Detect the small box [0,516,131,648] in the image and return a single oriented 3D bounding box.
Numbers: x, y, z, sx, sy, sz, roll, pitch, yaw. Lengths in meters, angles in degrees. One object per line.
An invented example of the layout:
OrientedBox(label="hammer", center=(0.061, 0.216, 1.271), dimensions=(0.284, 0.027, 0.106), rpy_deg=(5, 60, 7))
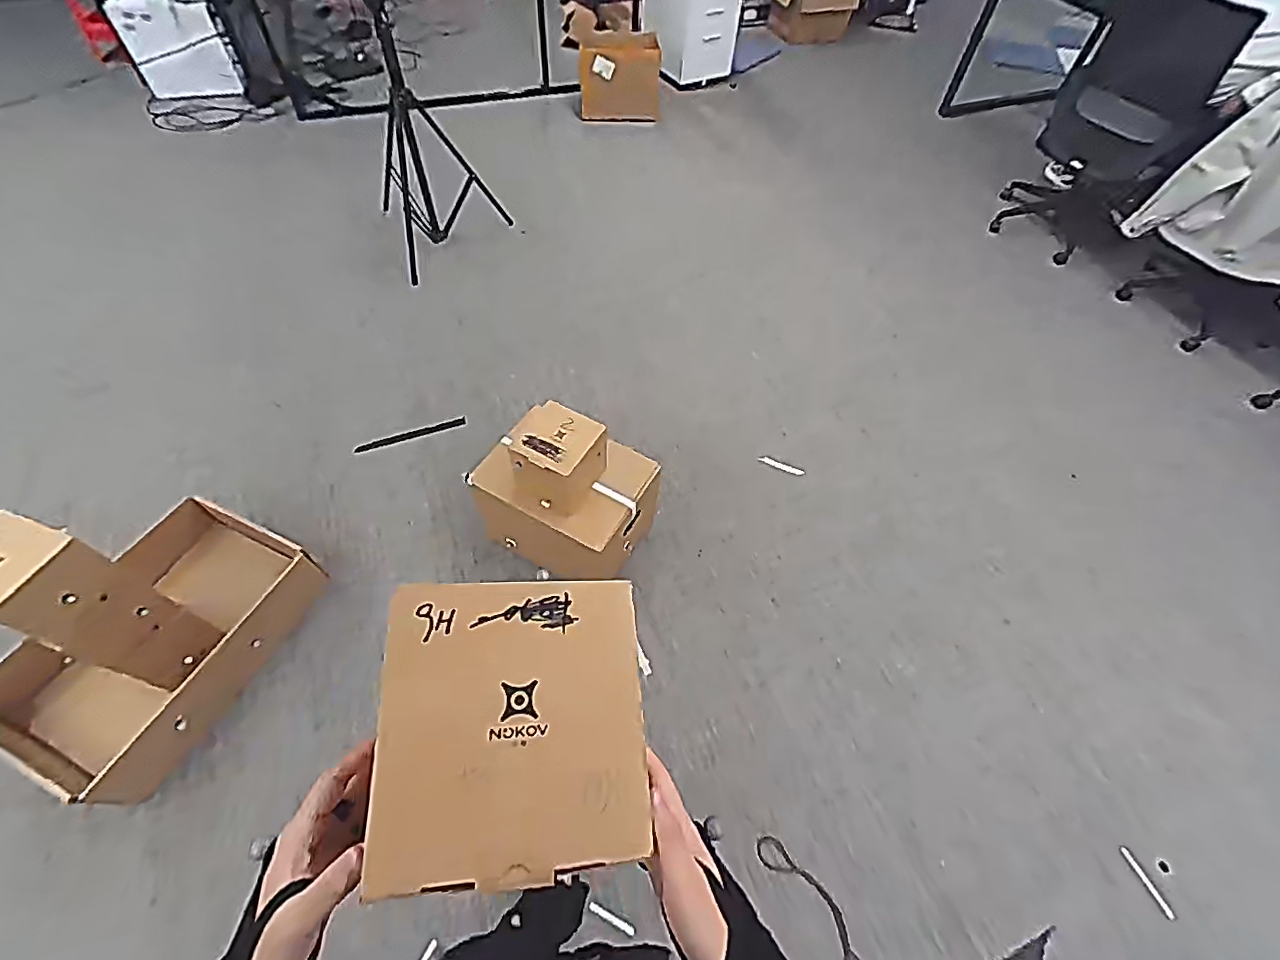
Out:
OrientedBox(label="small box", center=(-1.146, 0.199, 1.024), dimensions=(0.179, 0.176, 0.168), rpy_deg=(18, 55, 8))

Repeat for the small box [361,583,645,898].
OrientedBox(label="small box", center=(-0.099, 0.185, 0.418), dimensions=(0.168, 0.176, 0.179), rpy_deg=(2, 65, -15))

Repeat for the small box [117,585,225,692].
OrientedBox(label="small box", center=(-1.163, 0.385, 1.293), dimensions=(0.179, 0.176, 0.168), rpy_deg=(22, 57, 10))

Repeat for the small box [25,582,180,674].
OrientedBox(label="small box", center=(-1.158, 0.297, 1.157), dimensions=(0.179, 0.176, 0.168), rpy_deg=(17, 55, 9))
